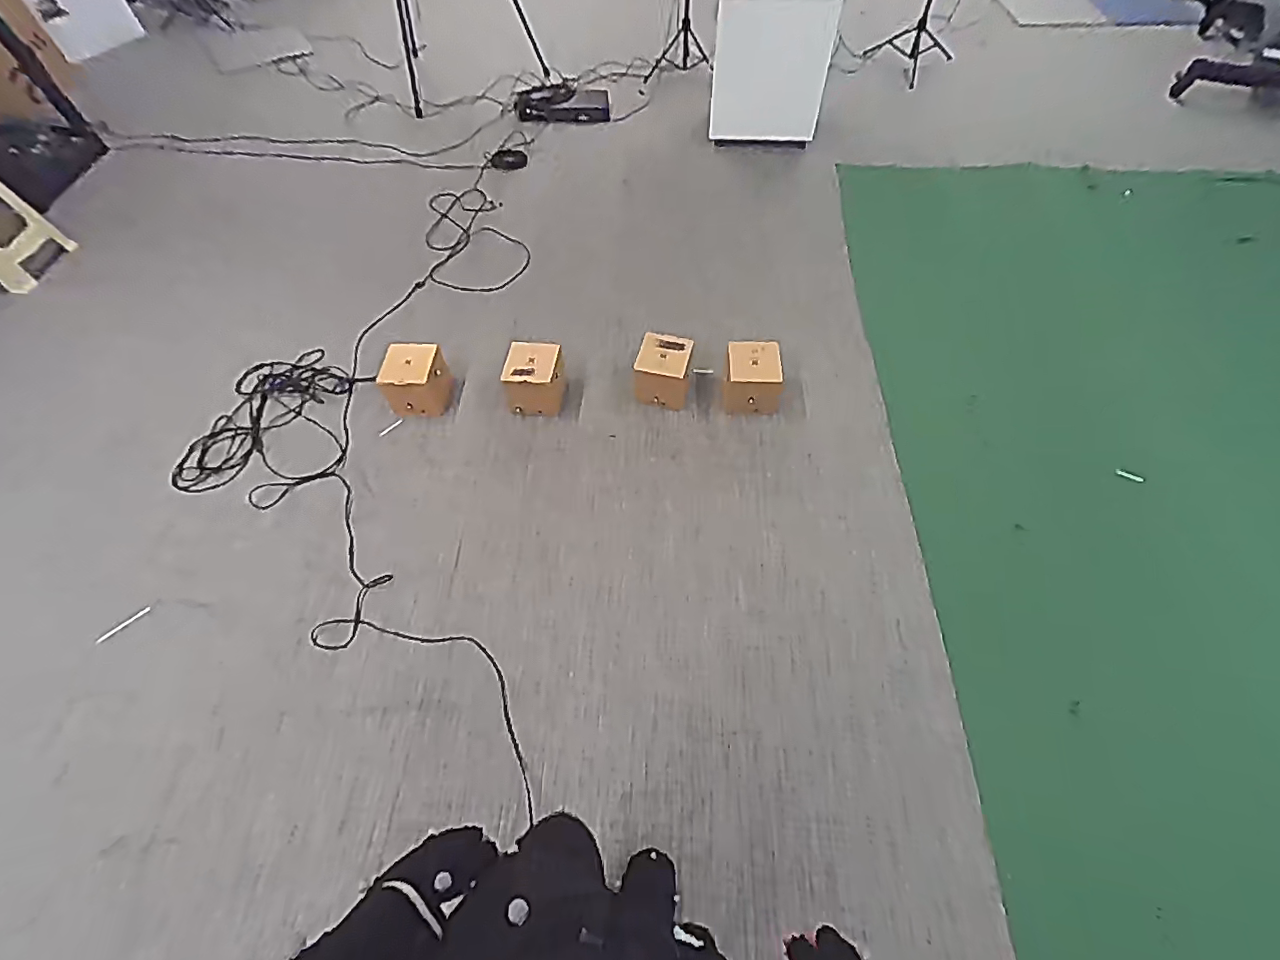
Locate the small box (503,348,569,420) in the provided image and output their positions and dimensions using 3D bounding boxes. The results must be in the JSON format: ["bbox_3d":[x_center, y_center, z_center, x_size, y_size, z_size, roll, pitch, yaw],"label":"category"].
[{"bbox_3d":[-0.343,-0.322,1.828,0.168,0.176,0.179,5,57,5],"label":"small box"}]

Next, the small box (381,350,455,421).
[{"bbox_3d":[-0.746,-0.323,1.844,0.168,0.176,0.179,0,58,3],"label":"small box"}]

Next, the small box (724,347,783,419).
[{"bbox_3d":[0.375,-0.321,1.805,0.168,0.176,0.179,2,58,2],"label":"small box"}]
